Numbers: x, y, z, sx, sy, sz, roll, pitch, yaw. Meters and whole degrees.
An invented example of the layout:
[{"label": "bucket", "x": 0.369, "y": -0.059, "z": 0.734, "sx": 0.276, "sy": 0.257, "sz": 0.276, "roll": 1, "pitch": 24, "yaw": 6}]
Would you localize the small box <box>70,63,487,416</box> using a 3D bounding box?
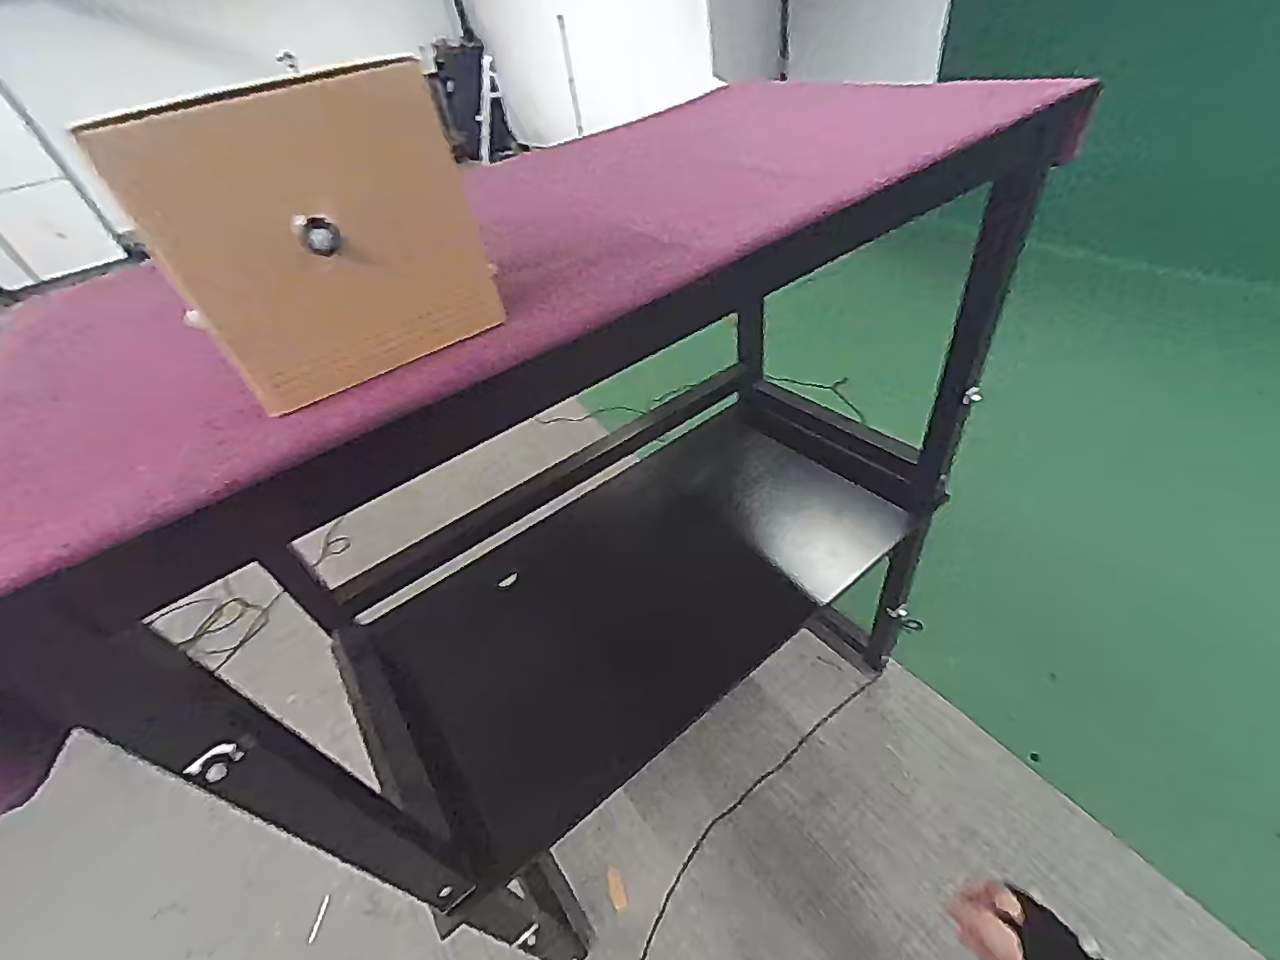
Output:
[{"label": "small box", "x": -0.230, "y": -0.176, "z": 0.388, "sx": 0.179, "sy": 0.176, "sz": 0.168, "roll": -31, "pitch": 45, "yaw": -20}]
